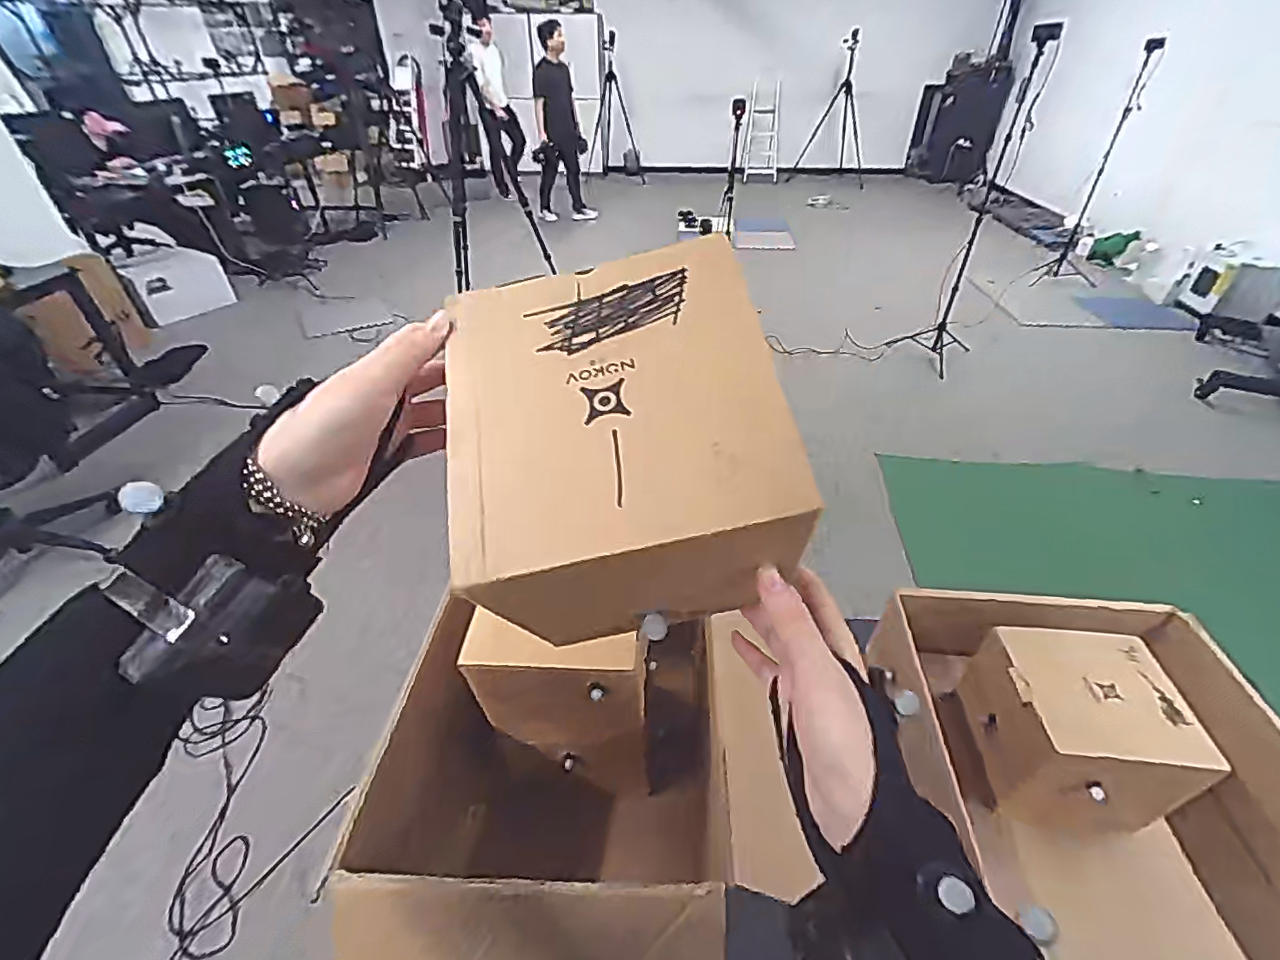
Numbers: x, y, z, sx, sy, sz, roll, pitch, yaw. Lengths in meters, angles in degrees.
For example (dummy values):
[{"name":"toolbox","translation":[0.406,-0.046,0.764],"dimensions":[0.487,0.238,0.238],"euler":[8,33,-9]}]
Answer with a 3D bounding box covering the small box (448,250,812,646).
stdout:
[{"name":"small box","translation":[-0.008,-0.006,0.346],"dimensions":[0.168,0.176,0.179],"euler":[-12,64,3]}]
